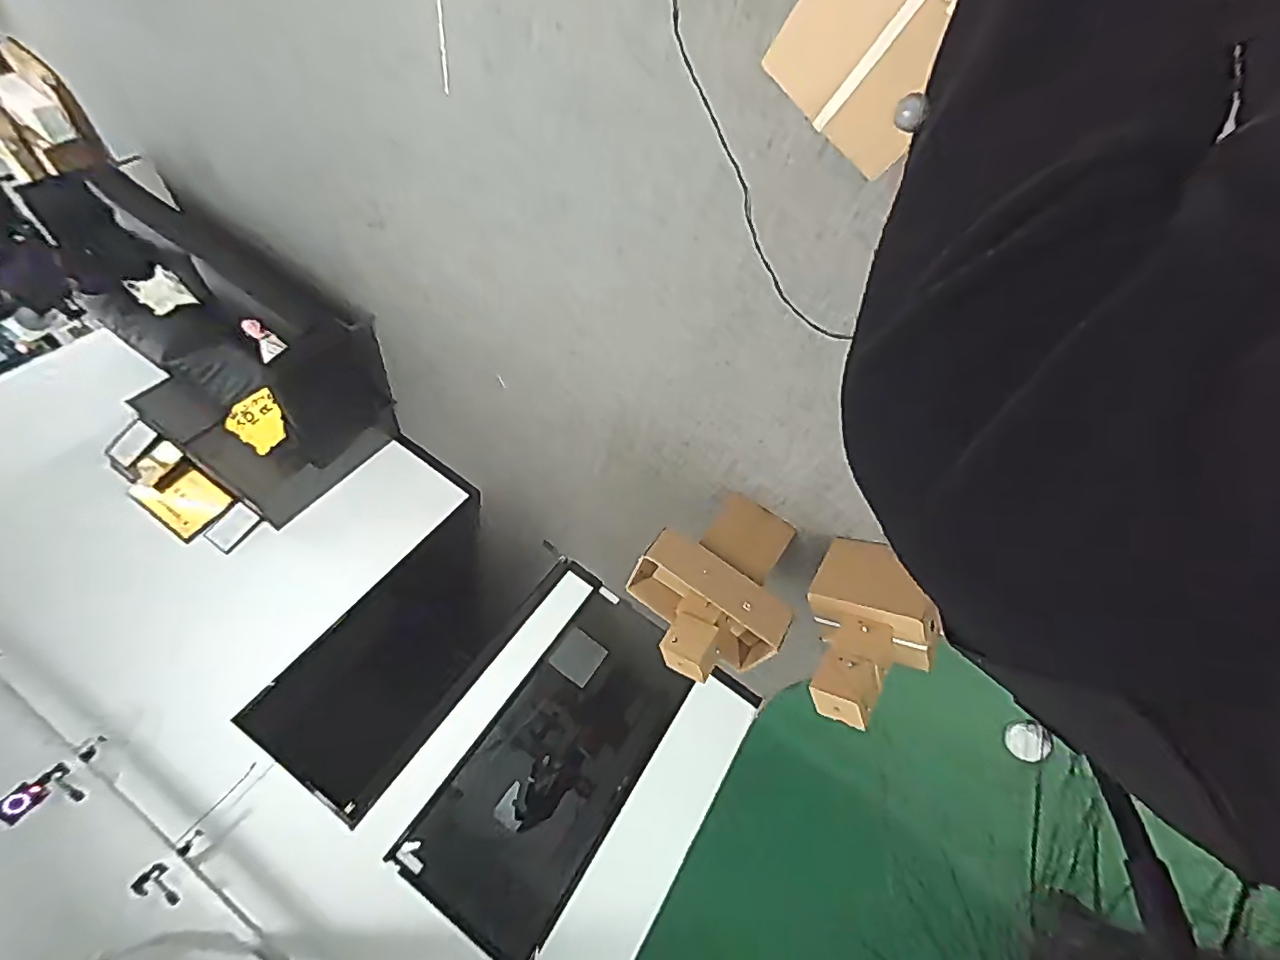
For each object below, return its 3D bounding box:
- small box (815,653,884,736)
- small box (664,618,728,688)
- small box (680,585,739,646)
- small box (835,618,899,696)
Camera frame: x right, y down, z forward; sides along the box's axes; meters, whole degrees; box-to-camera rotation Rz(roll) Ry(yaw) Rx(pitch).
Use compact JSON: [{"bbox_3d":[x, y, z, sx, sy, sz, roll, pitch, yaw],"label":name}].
[{"bbox_3d":[0.720,0.727,1.844,0.168,0.176,0.179,8,135,40],"label":"small box"},{"bbox_3d":[0.218,0.659,2.087,0.179,0.176,0.168,17,141,32],"label":"small box"},{"bbox_3d":[0.290,0.552,2.192,0.179,0.176,0.168,16,139,33],"label":"small box"},{"bbox_3d":[0.815,0.627,1.930,0.168,0.176,0.179,11,137,39],"label":"small box"}]
